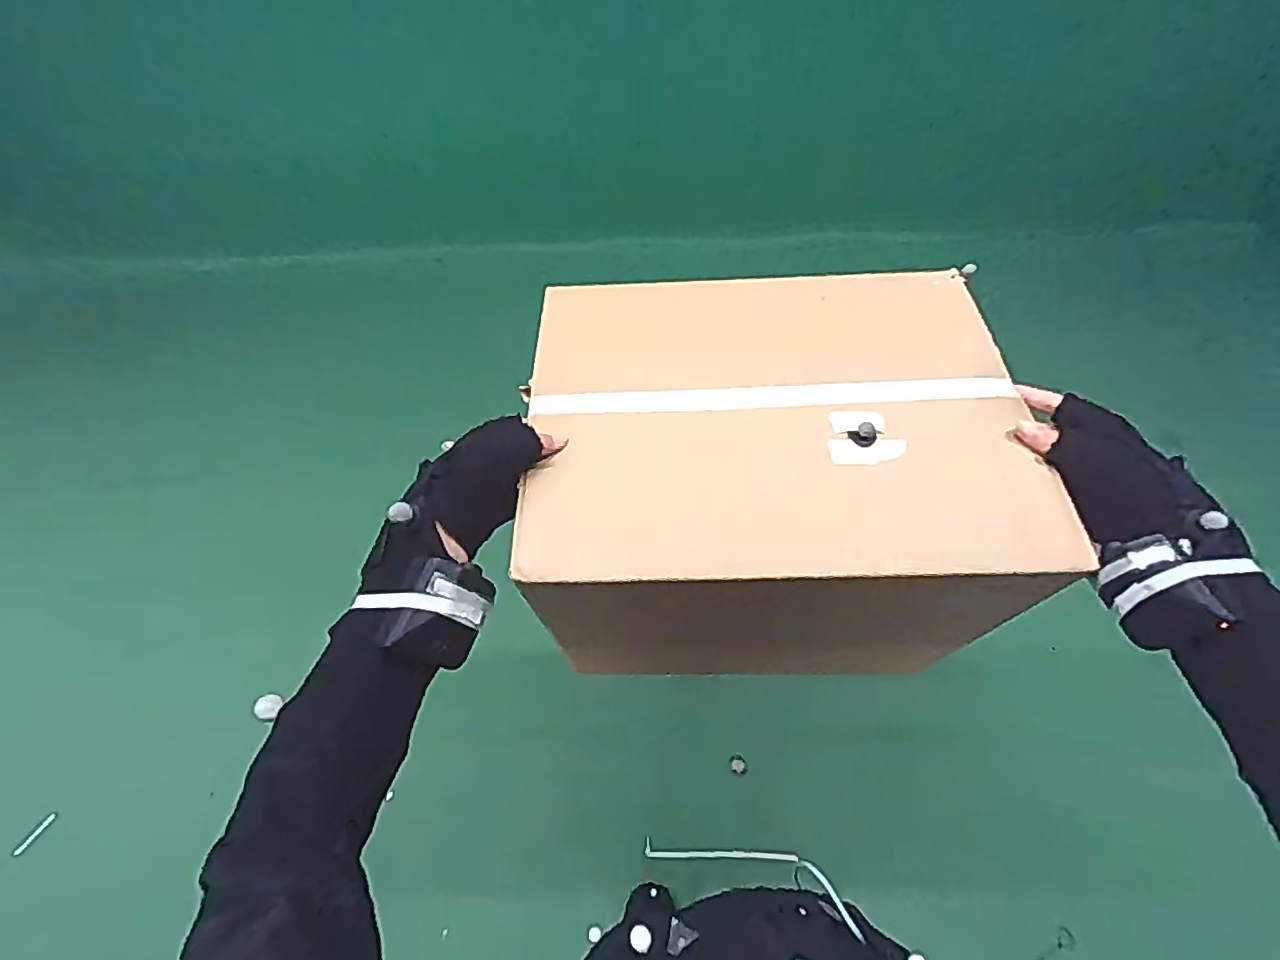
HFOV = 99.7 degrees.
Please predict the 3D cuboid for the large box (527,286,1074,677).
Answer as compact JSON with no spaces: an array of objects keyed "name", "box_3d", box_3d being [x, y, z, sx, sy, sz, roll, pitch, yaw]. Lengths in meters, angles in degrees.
[{"name":"large box","box_3d":[0.116,0.018,0.593,0.408,0.320,0.320,-1,58,2]}]
